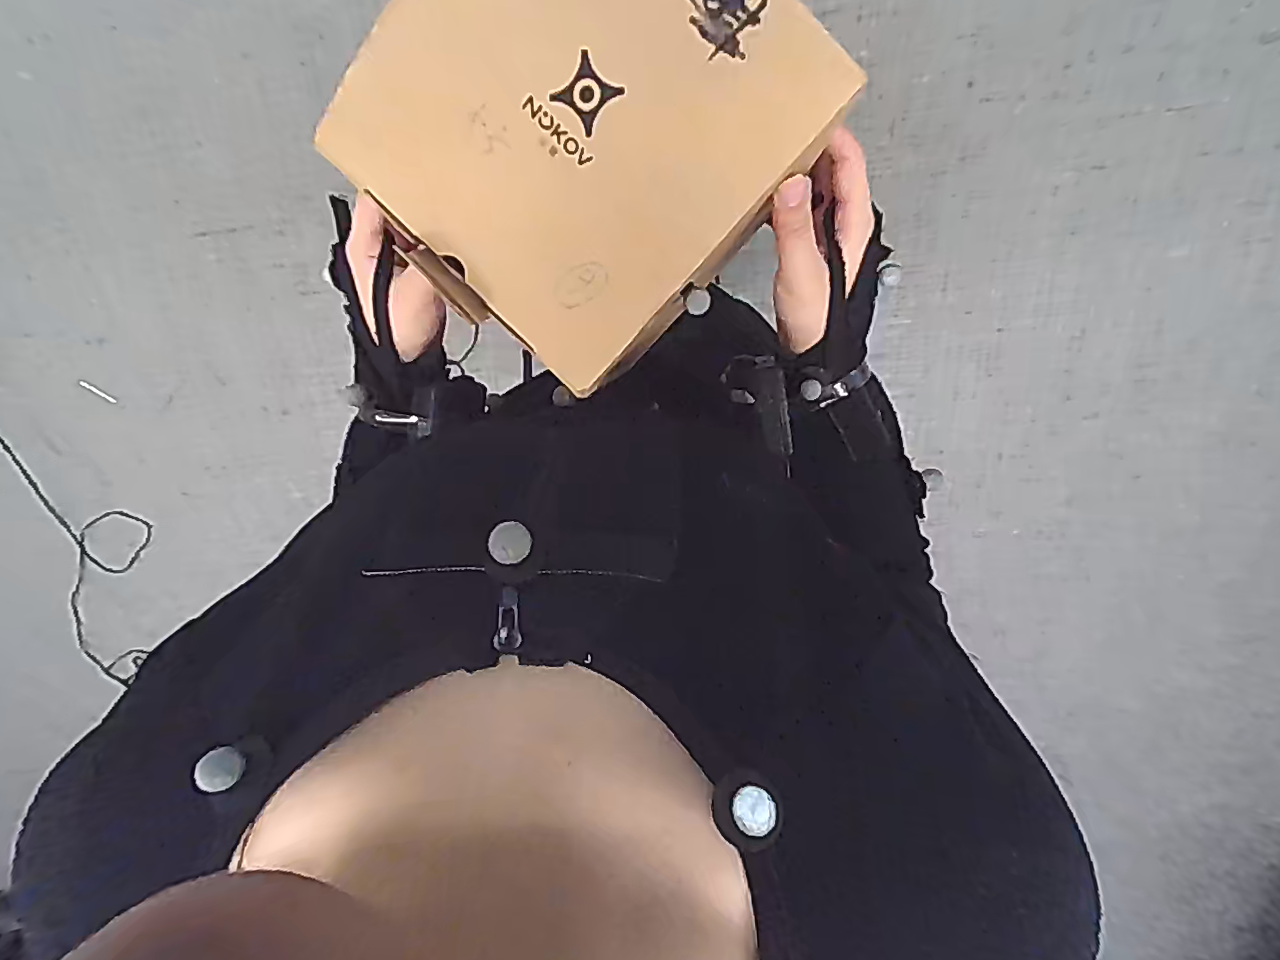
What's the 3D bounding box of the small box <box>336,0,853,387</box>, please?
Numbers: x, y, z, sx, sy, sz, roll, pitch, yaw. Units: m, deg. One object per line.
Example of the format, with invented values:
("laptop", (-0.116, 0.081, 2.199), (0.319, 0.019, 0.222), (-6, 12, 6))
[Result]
("small box", (-0.017, -0.177, 0.311), (0.168, 0.176, 0.179), (44, 106, -6))
